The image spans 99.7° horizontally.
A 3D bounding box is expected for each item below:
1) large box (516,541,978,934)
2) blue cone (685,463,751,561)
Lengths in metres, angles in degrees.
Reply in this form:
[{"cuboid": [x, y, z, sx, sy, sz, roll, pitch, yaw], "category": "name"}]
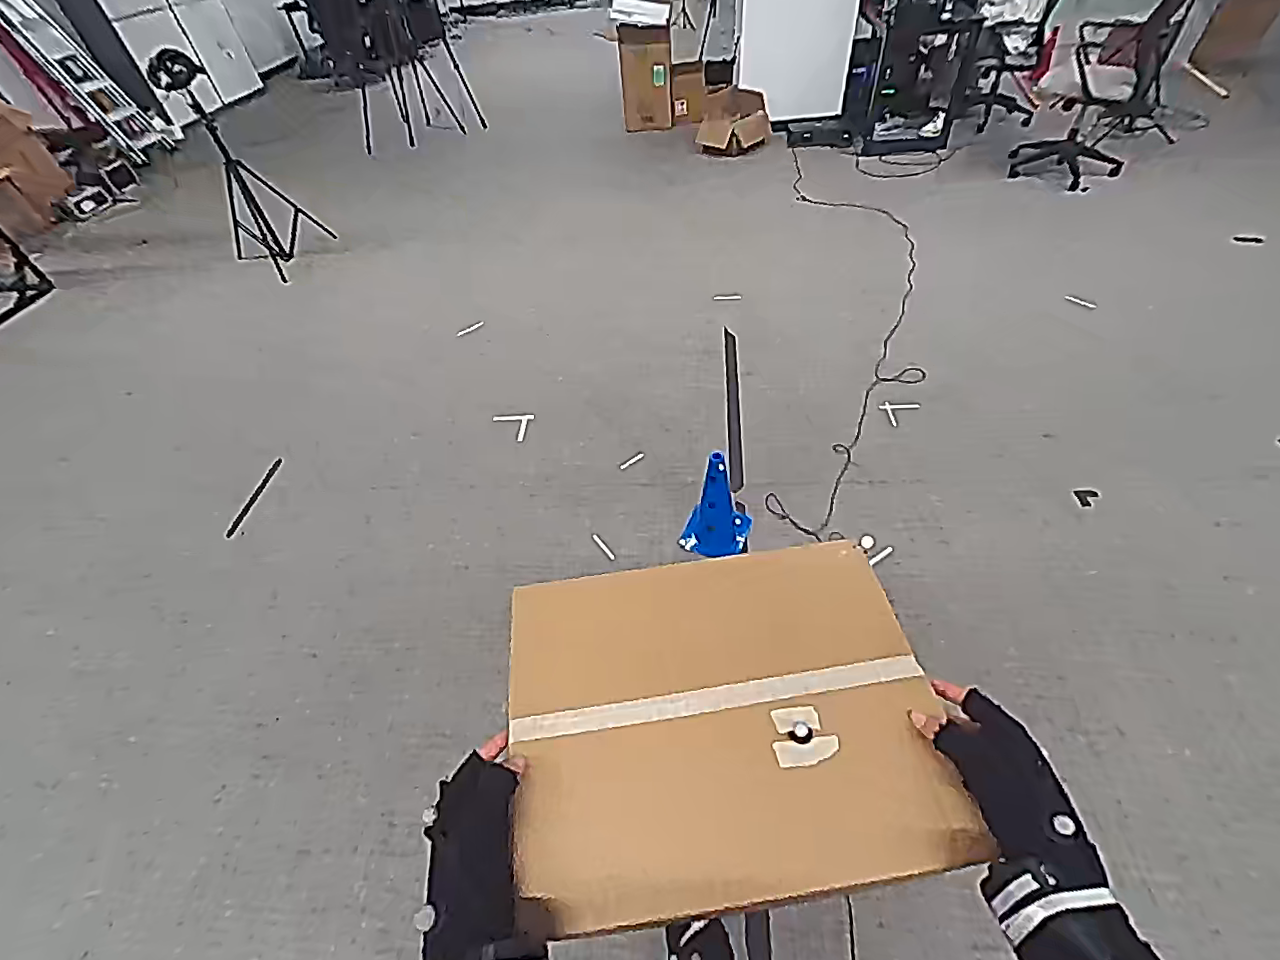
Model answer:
[{"cuboid": [0.080, 0.313, 0.655, 0.408, 0.320, 0.320, -8, 50, -3], "category": "large box"}, {"cuboid": [0.243, 0.080, 1.674, 0.193, 0.380, 0.192, 15, 52, 21], "category": "blue cone"}]
